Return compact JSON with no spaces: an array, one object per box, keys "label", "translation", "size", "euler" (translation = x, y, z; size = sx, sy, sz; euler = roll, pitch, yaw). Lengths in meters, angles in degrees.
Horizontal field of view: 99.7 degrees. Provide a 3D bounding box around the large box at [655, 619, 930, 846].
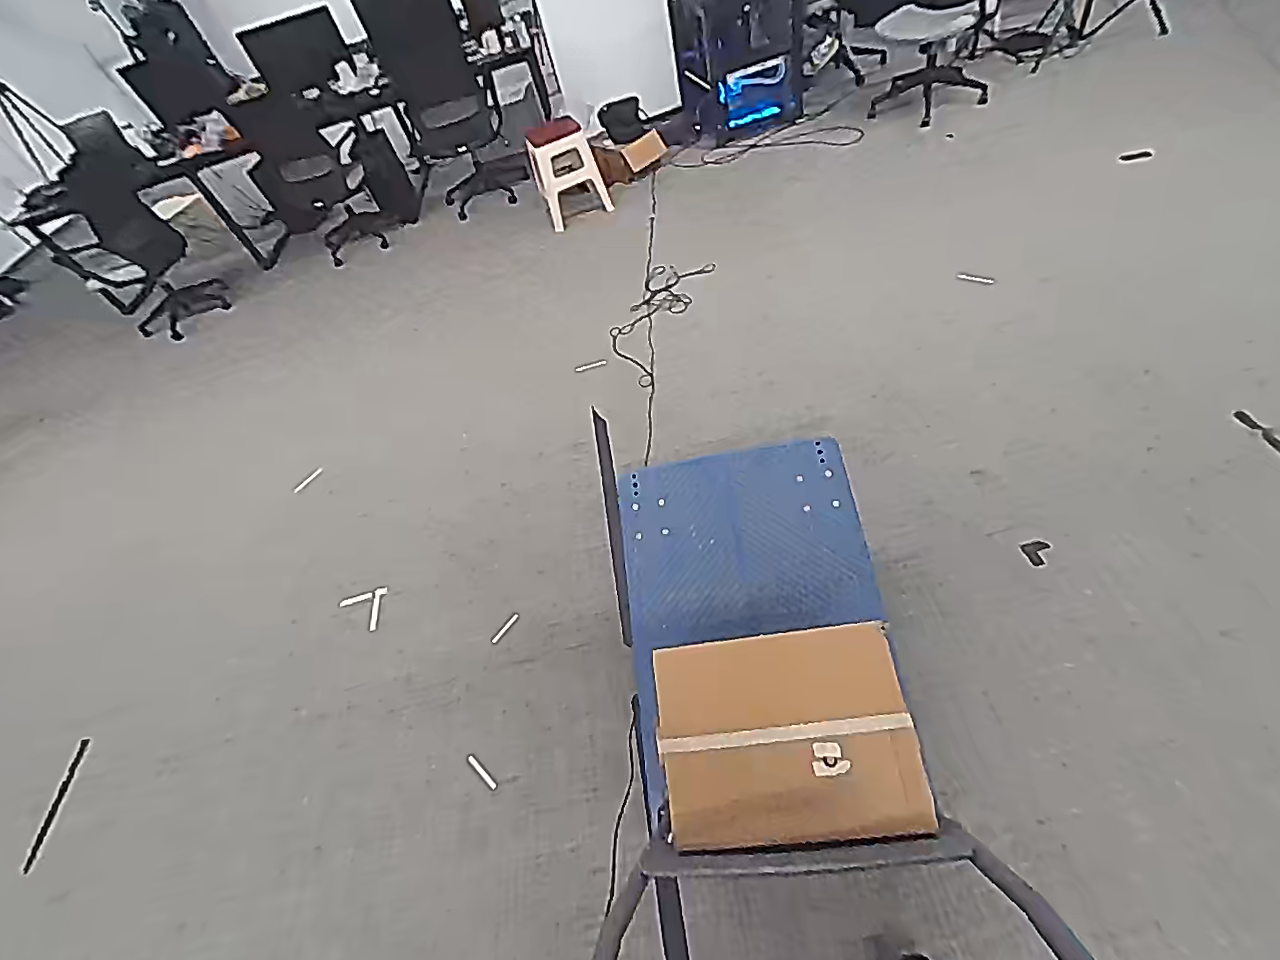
[{"label":"large box","translation":[0.263,0.474,1.045],"size":[0.408,0.320,0.320],"euler":[-10,68,8]}]
